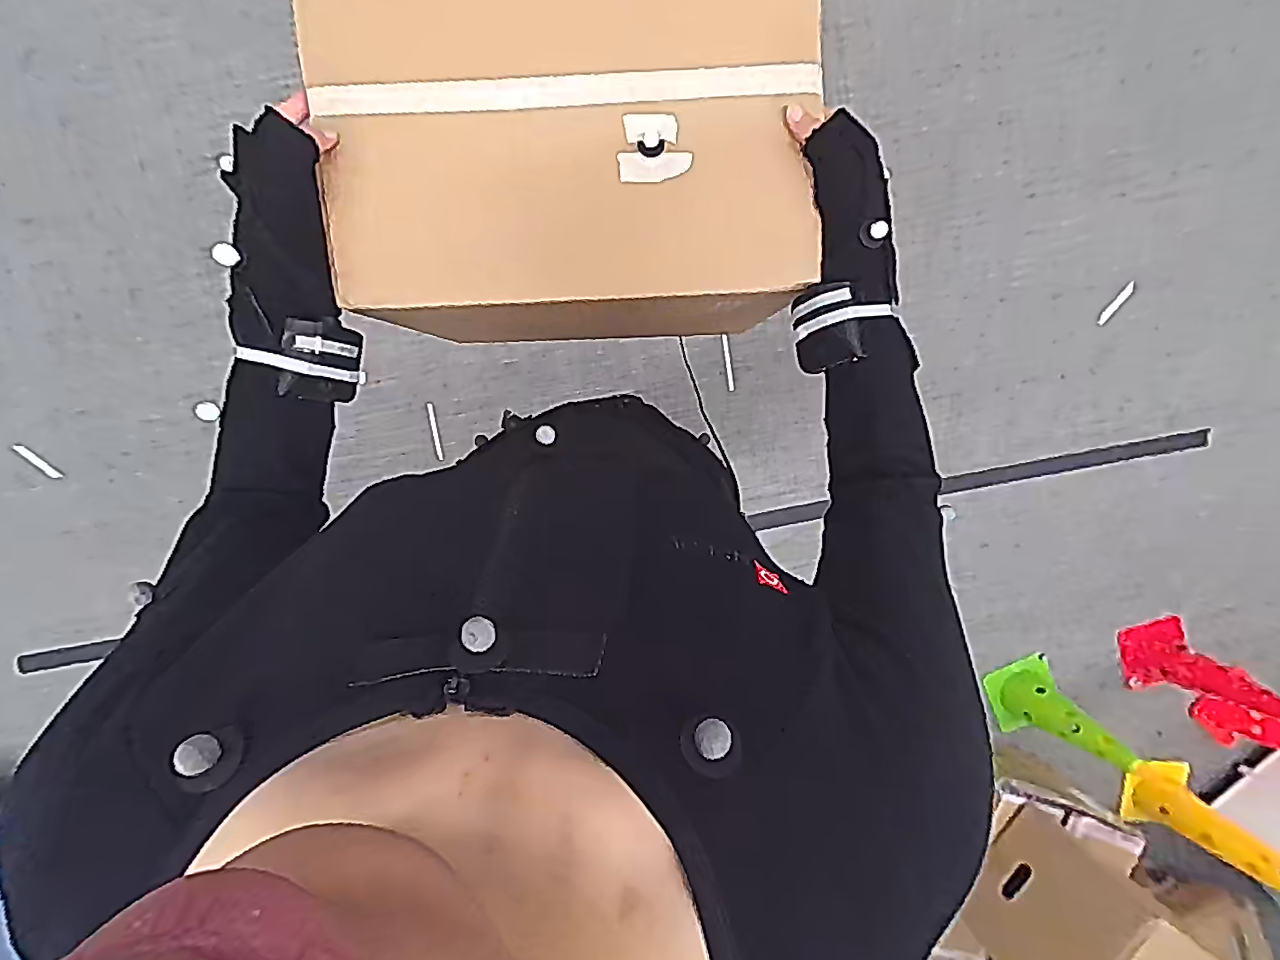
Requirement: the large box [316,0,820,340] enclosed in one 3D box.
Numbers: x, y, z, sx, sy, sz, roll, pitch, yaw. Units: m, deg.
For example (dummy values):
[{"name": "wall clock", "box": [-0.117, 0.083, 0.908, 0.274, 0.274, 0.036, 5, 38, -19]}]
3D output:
[{"name": "large box", "box": [-0.057, -0.337, 0.584, 0.408, 0.320, 0.320, -3, 99, 0]}]
